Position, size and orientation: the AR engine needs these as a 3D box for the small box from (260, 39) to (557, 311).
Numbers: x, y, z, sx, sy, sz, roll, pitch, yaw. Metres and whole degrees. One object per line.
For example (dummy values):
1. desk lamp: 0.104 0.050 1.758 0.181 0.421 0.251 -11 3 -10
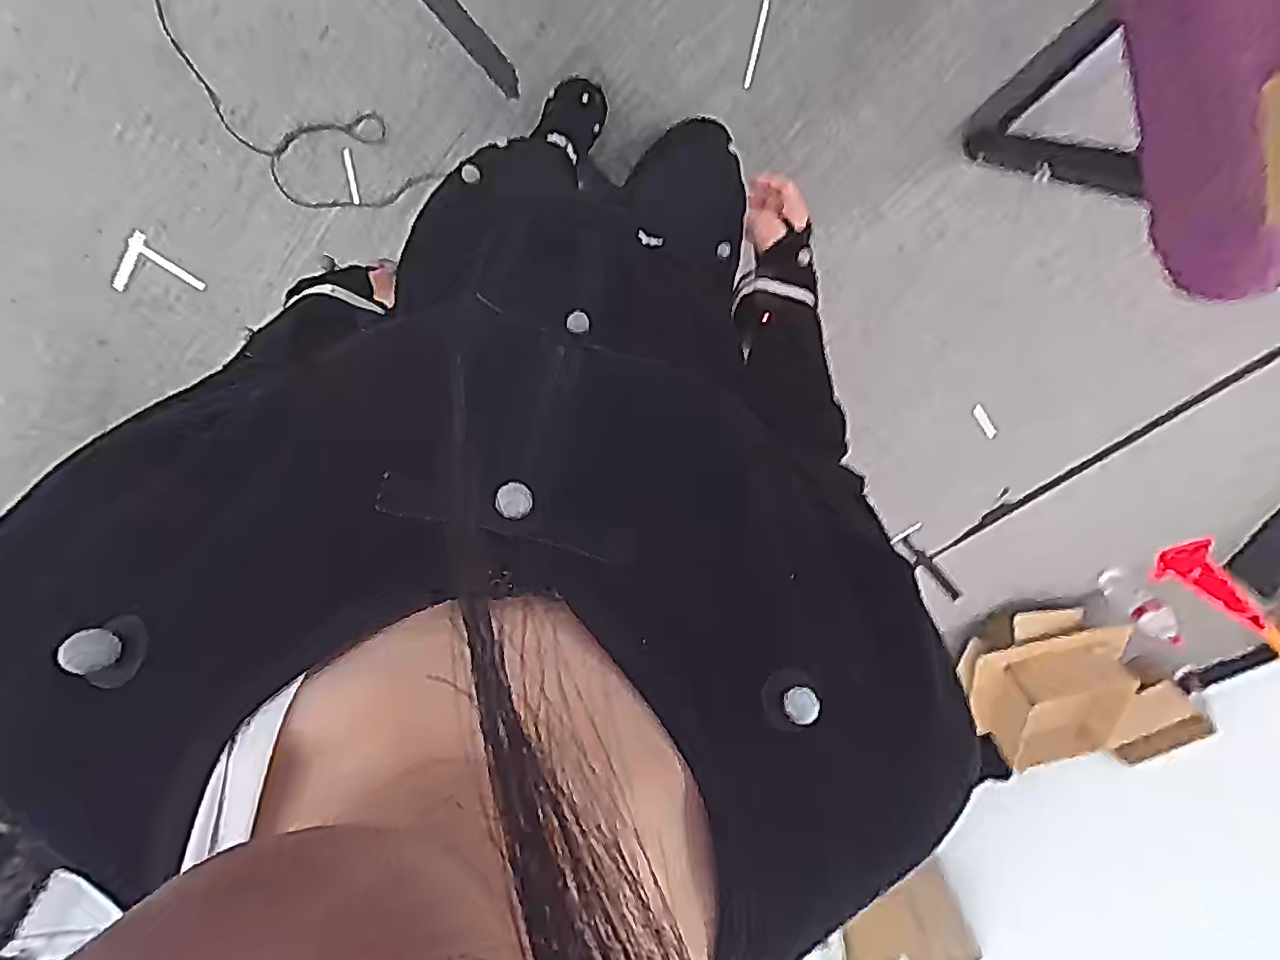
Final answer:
1. small box: -0.219 -0.298 0.534 0.179 0.168 0.176 -1 136 30
